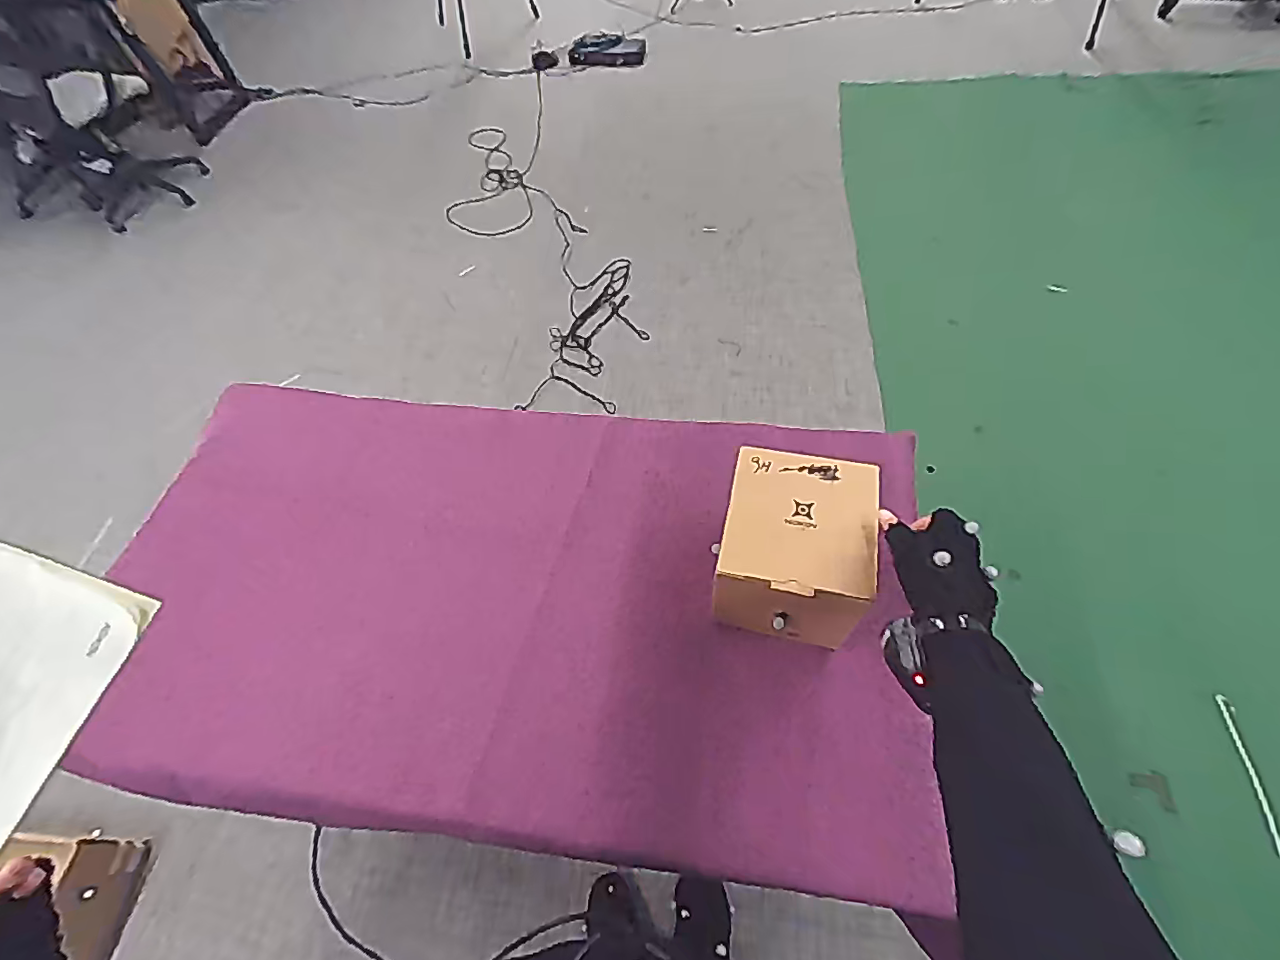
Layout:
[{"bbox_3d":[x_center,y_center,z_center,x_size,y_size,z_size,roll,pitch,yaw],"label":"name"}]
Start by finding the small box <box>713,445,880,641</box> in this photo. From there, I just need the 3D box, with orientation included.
[{"bbox_3d":[0.188,0.084,0.676,0.168,0.176,0.179,10,60,12],"label":"small box"}]
